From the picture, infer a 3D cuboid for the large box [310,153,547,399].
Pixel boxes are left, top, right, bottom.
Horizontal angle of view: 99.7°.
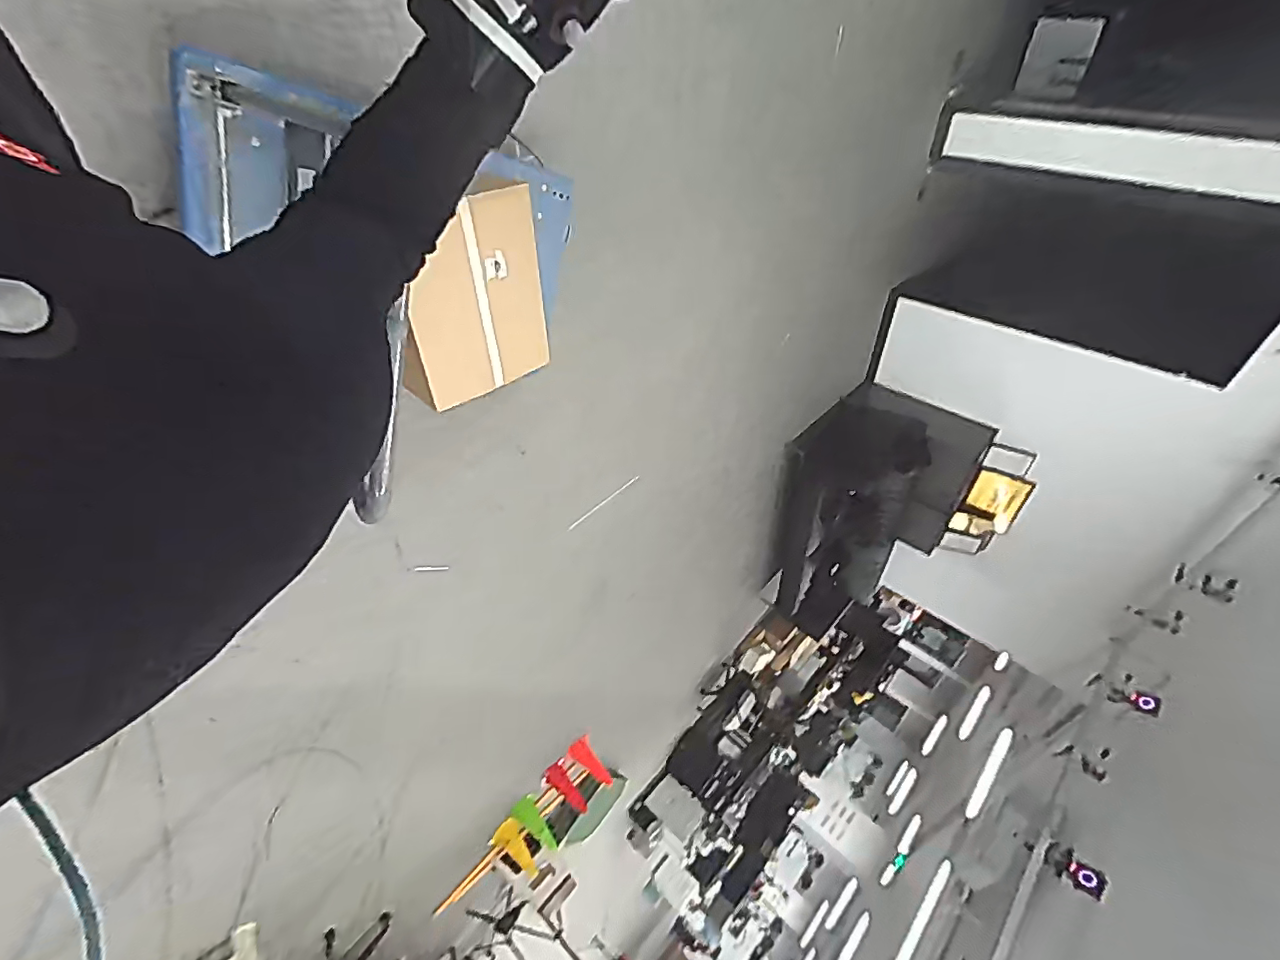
[{"bbox_3d":[-0.447,-0.459,1.204,0.320,0.320,0.408,-35,141,-32],"label":"large box"}]
